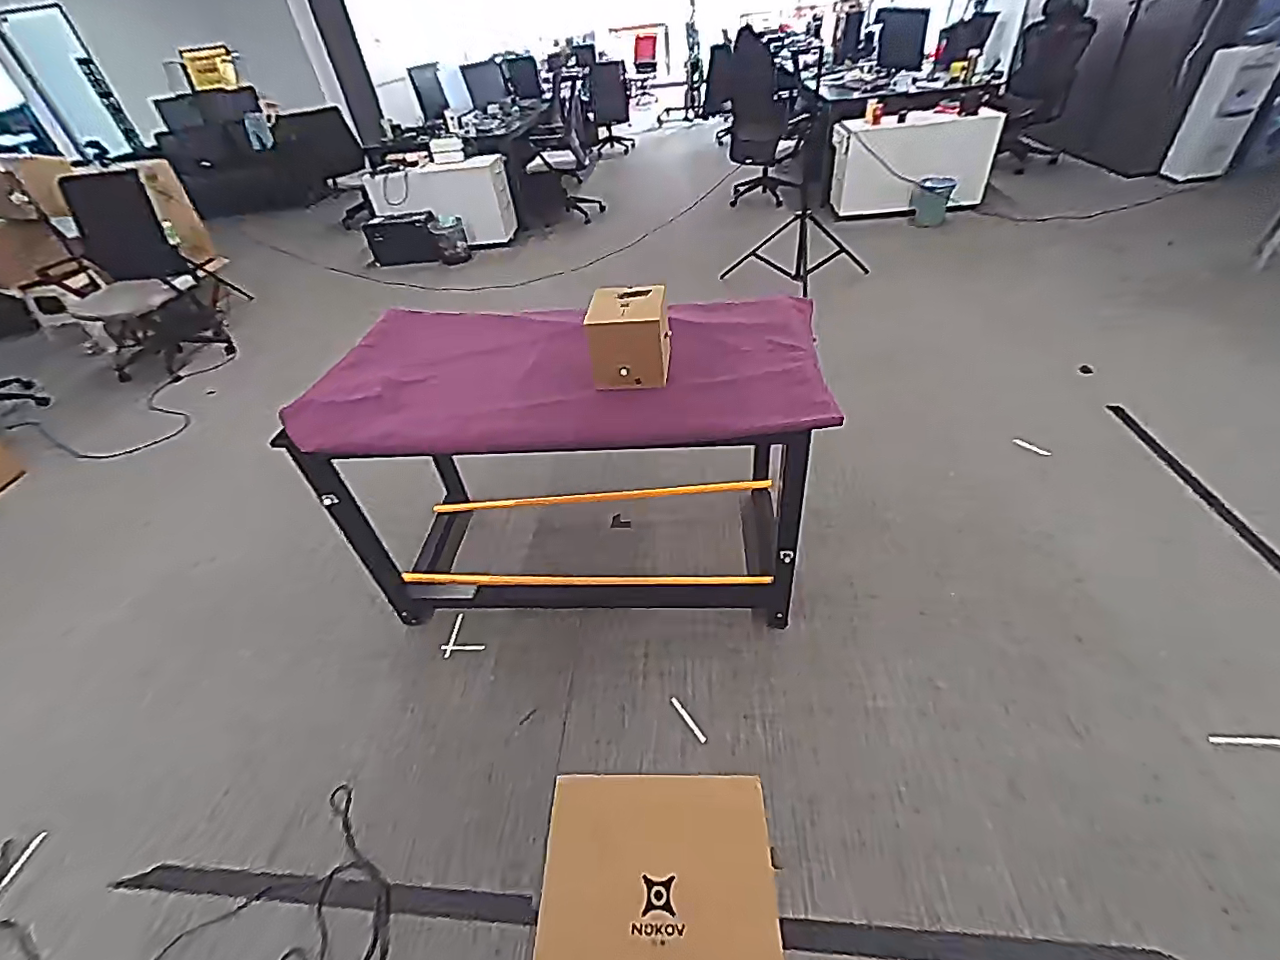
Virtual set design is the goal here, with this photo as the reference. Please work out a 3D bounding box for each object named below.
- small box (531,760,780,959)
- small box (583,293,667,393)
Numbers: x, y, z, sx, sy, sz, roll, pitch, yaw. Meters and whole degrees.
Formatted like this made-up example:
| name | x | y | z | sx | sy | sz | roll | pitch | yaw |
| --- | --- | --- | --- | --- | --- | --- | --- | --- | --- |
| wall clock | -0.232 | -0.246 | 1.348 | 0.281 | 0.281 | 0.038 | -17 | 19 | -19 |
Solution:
| name | x | y | z | sx | sy | sz | roll | pitch | yaw |
| --- | --- | --- | --- | --- | --- | --- | --- | --- | --- |
| small box | 0.017 | 0.348 | 0.429 | 0.168 | 0.176 | 0.179 | -2 | 42 | 5 |
| small box | -0.027 | -0.317 | 1.256 | 0.168 | 0.176 | 0.179 | -1 | 41 | 8 |
